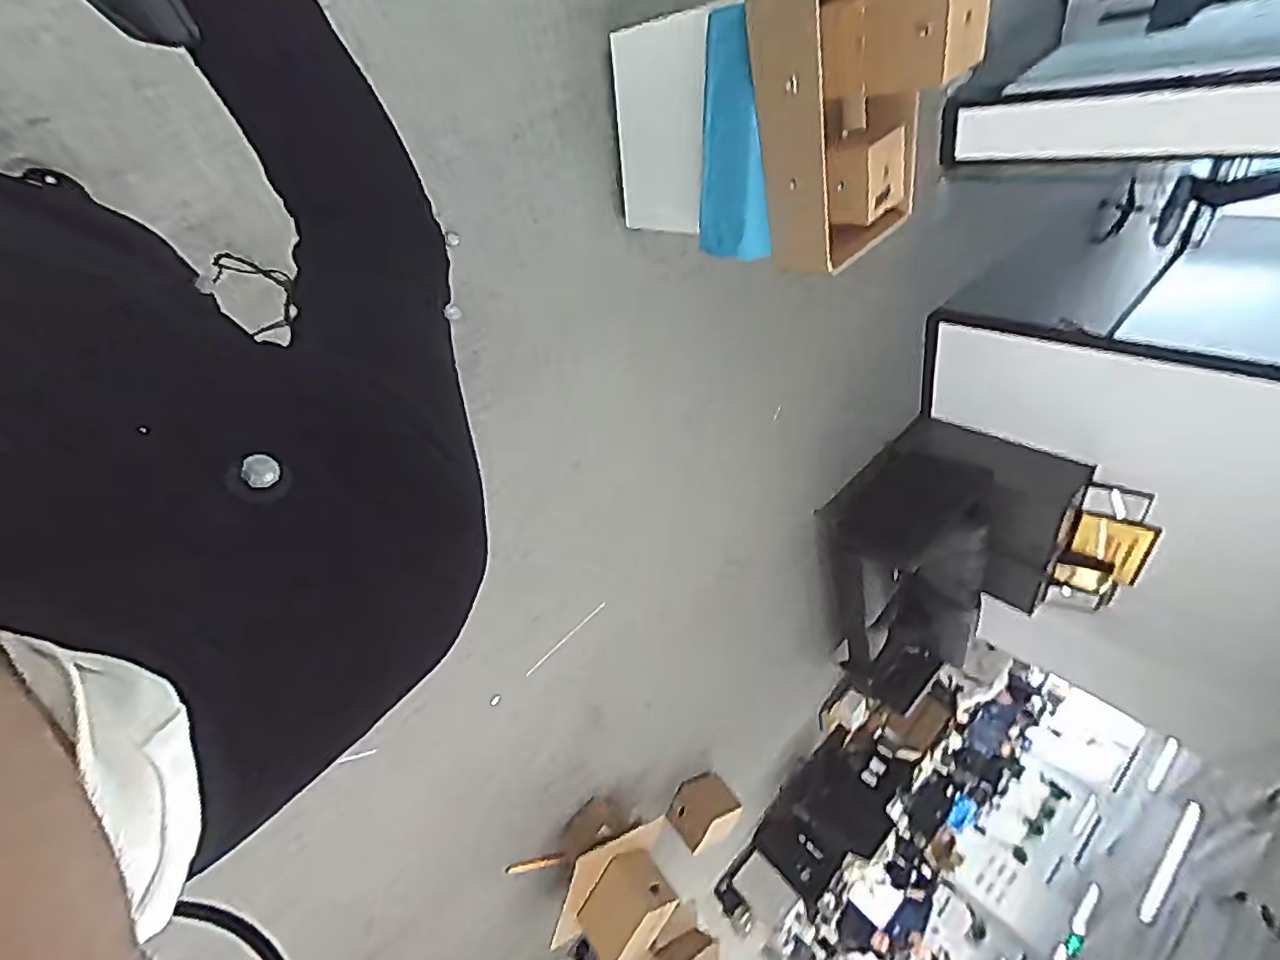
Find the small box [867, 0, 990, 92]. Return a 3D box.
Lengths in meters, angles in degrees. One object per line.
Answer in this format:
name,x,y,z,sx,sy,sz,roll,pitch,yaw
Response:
small box,0.580,-0.920,1.095,0.168,0.176,0.179,-41,135,-19
